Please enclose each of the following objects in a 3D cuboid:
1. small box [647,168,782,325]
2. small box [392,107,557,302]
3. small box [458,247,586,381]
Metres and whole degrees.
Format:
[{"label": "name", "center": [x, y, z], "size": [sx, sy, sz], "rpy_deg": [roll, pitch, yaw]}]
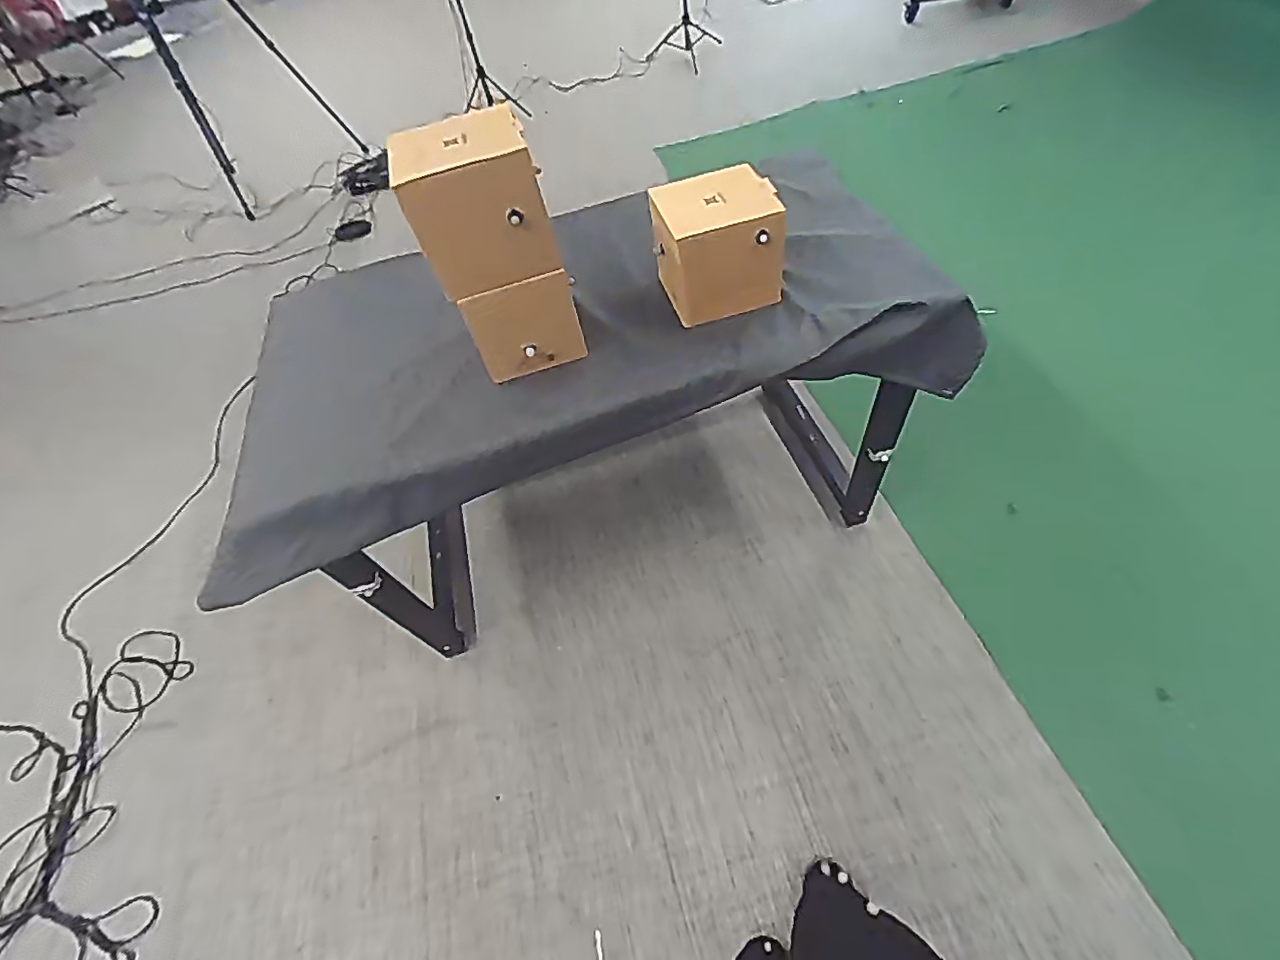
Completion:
[{"label": "small box", "center": [0.125, -0.389, 0.916], "size": [0.179, 0.176, 0.168], "rpy_deg": [-16, 54, -3]}, {"label": "small box", "center": [-0.227, -0.387, 0.770], "size": [0.179, 0.176, 0.168], "rpy_deg": [-19, 53, -3]}, {"label": "small box", "center": [-0.199, -0.297, 0.903], "size": [0.168, 0.176, 0.179], "rpy_deg": [-18, 55, -3]}]
